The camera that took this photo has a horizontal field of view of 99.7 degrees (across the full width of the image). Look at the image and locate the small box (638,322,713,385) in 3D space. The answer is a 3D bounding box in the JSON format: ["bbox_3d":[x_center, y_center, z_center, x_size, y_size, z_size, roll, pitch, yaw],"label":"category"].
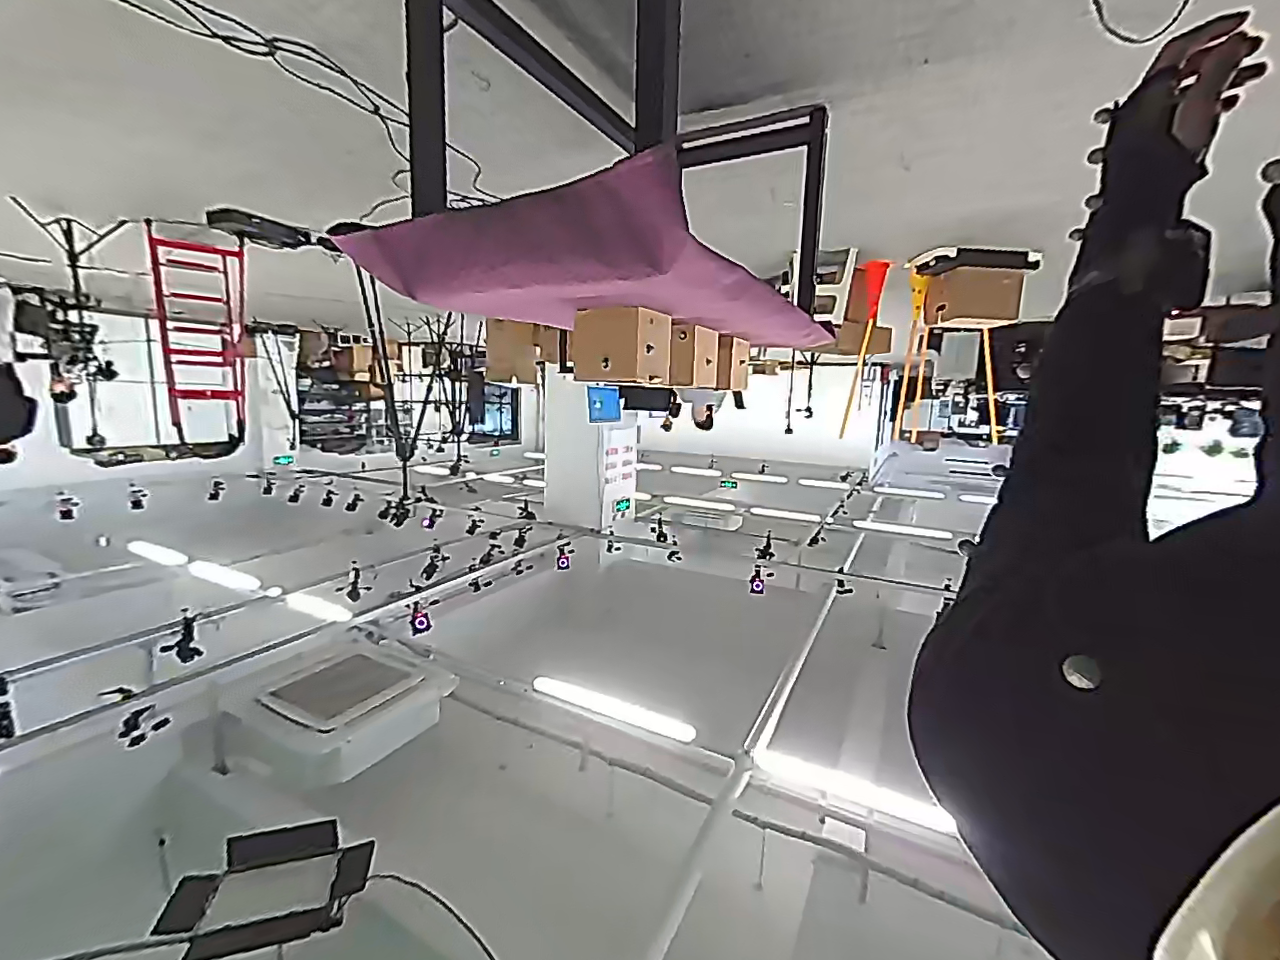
[{"bbox_3d":[0.103,-0.364,1.560,0.168,0.176,0.179,7,-169,28],"label":"small box"}]

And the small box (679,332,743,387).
[{"bbox_3d":[0.240,-0.401,1.814,0.179,0.176,0.168,6,-171,29],"label":"small box"}]

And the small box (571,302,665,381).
[{"bbox_3d":[-0.051,-0.324,1.282,0.179,0.176,0.168,7,-170,27],"label":"small box"}]
